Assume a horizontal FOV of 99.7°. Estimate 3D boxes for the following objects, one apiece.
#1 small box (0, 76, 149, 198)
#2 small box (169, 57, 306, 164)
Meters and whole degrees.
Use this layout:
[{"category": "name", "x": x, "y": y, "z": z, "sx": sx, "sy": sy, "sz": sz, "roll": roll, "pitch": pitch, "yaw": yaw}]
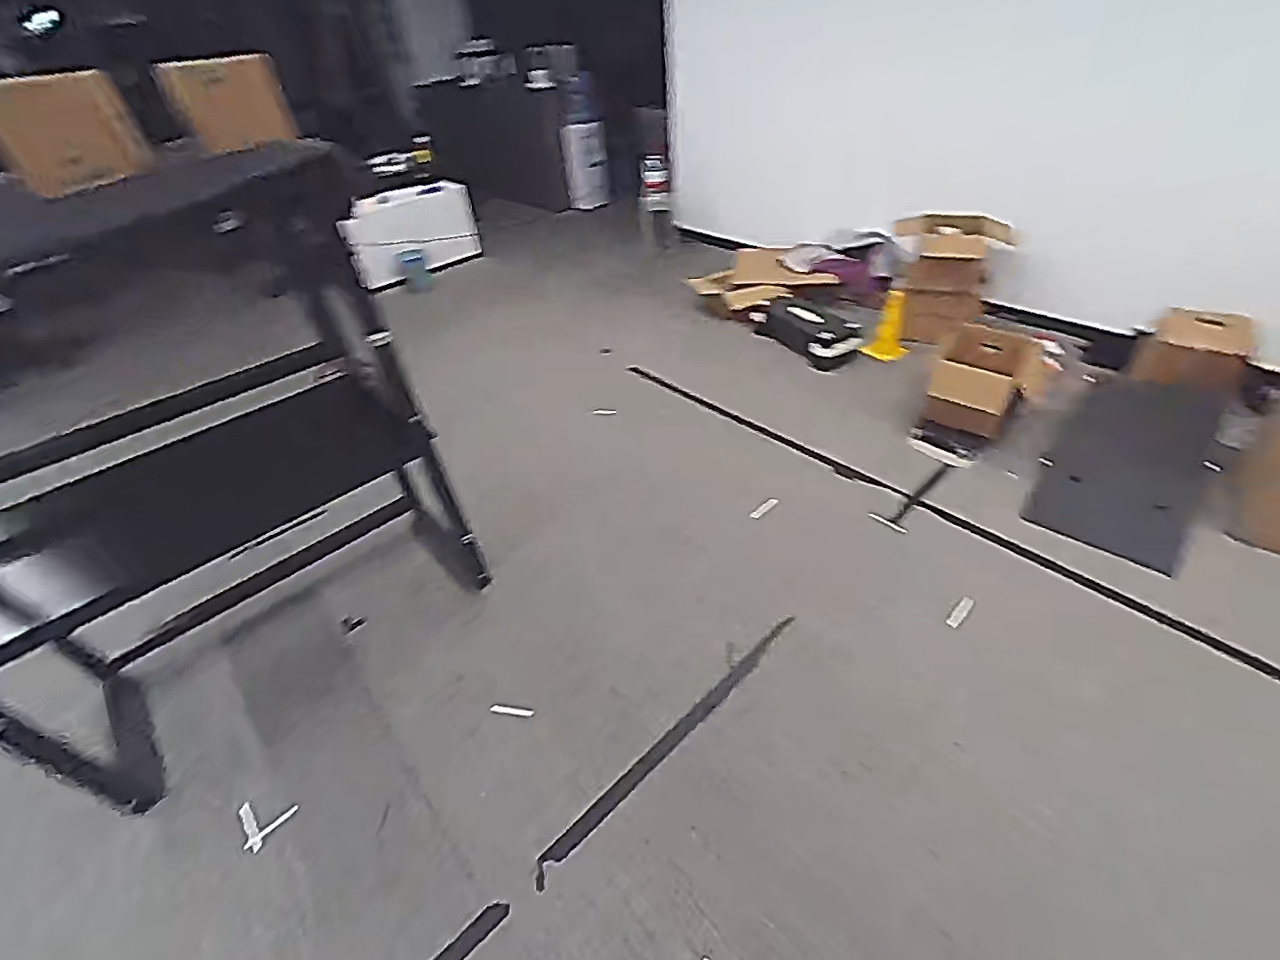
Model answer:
[{"category": "small box", "x": -1.077, "y": -0.643, "z": 1.016, "sx": 0.168, "sy": 0.176, "sz": 0.179, "roll": -34, "pitch": 47, "yaw": -28}, {"category": "small box", "x": -0.856, "y": -0.789, "z": 1.157, "sx": 0.168, "sy": 0.176, "sz": 0.179, "roll": -33, "pitch": 47, "yaw": -27}]
